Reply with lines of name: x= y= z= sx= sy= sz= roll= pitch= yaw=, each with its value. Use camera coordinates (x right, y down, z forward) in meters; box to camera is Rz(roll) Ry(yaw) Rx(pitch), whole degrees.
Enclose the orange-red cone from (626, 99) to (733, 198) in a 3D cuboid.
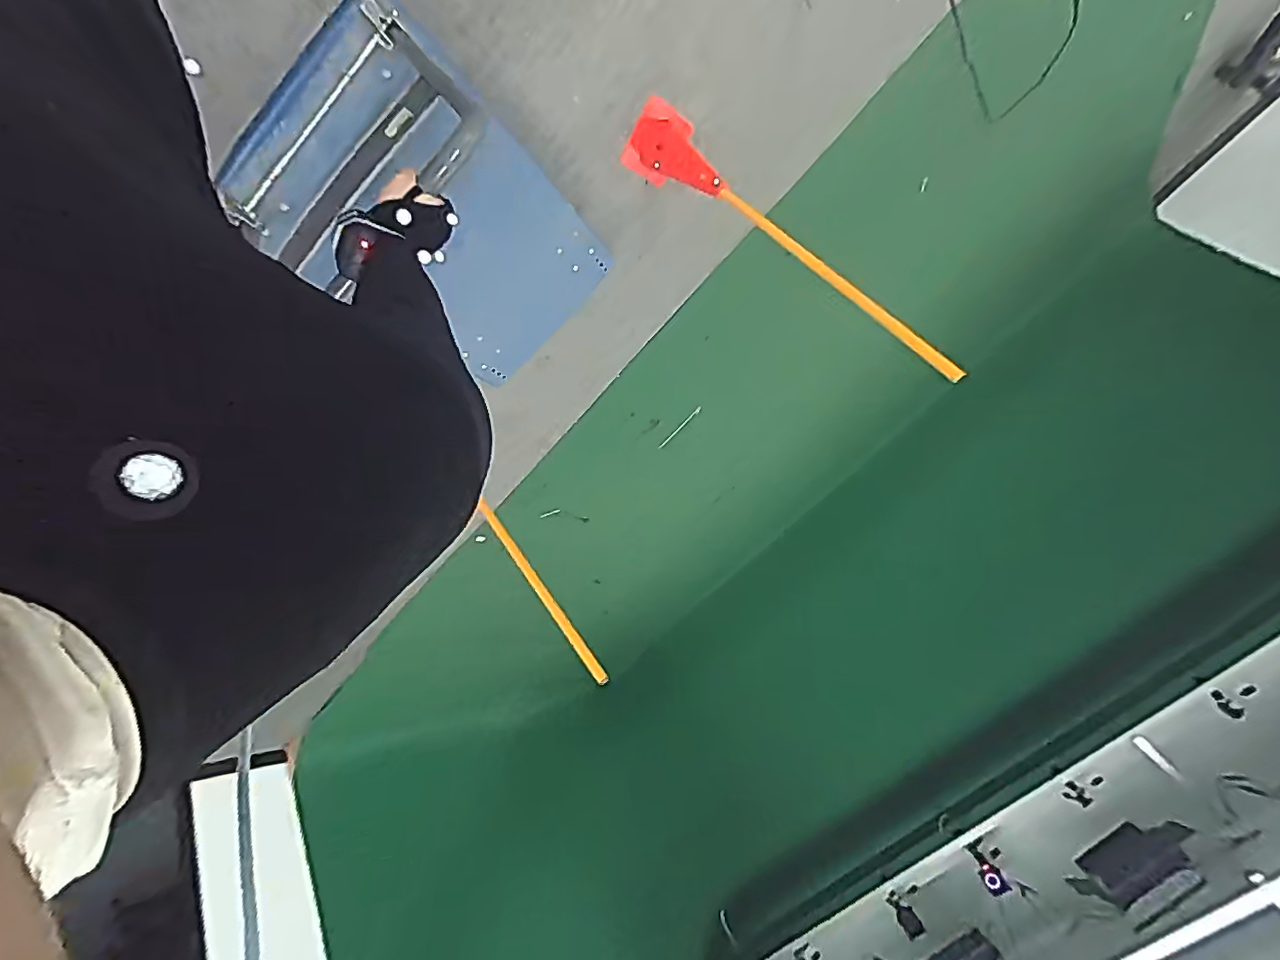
orange-red cone: x=0.152 y=-0.925 z=1.592 sx=0.198 sy=0.360 sz=0.199 roll=3 pitch=131 yaw=-48
